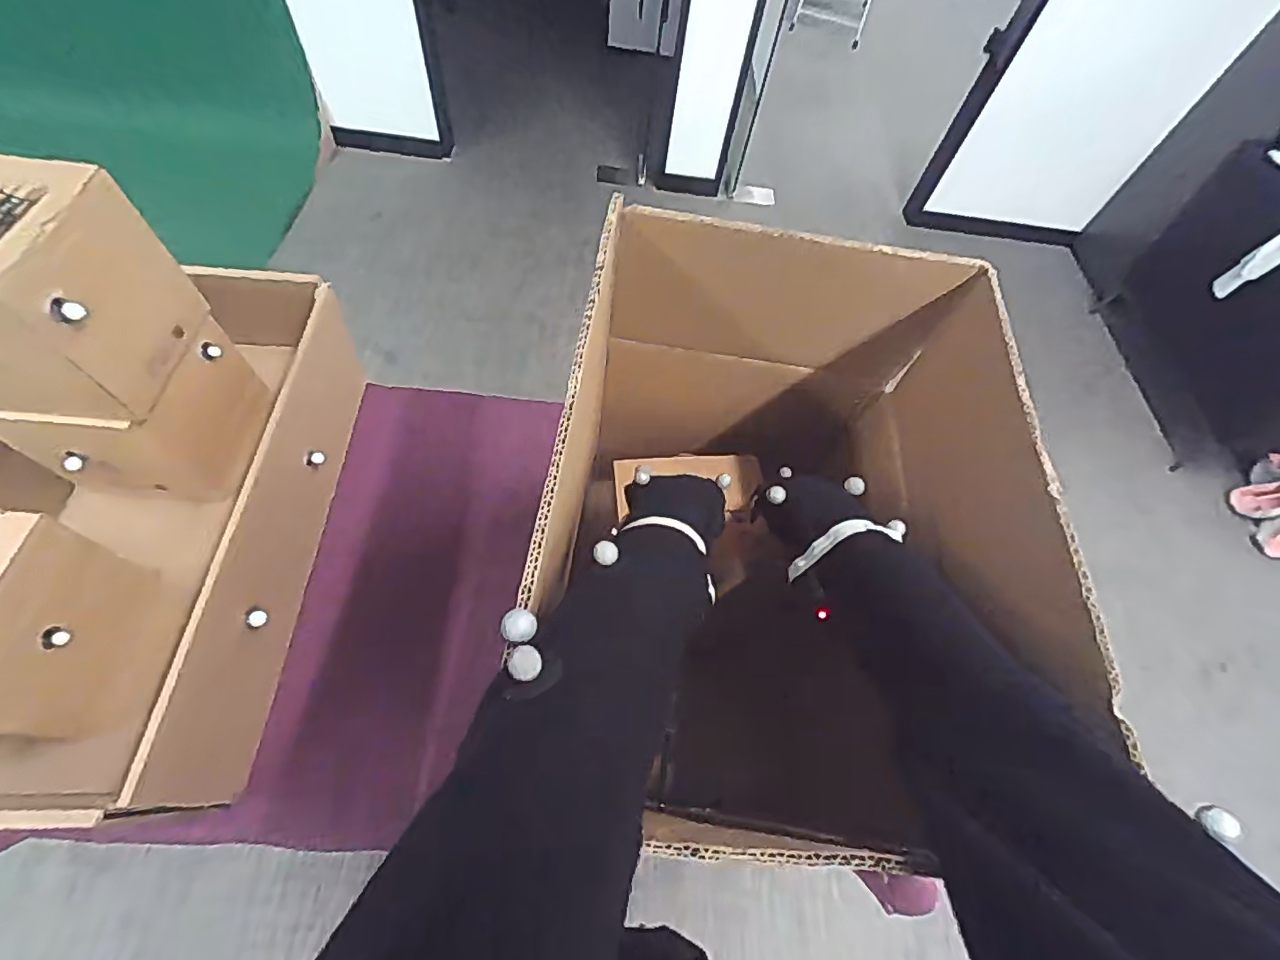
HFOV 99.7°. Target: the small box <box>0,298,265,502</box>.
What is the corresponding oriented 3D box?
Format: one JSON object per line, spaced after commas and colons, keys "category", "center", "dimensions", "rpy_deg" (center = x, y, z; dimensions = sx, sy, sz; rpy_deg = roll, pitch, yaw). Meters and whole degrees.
{"category": "small box", "center": [-0.599, -0.088, 0.652], "dimensions": [0.168, 0.176, 0.179], "rpy_deg": [5, 60, -3]}
